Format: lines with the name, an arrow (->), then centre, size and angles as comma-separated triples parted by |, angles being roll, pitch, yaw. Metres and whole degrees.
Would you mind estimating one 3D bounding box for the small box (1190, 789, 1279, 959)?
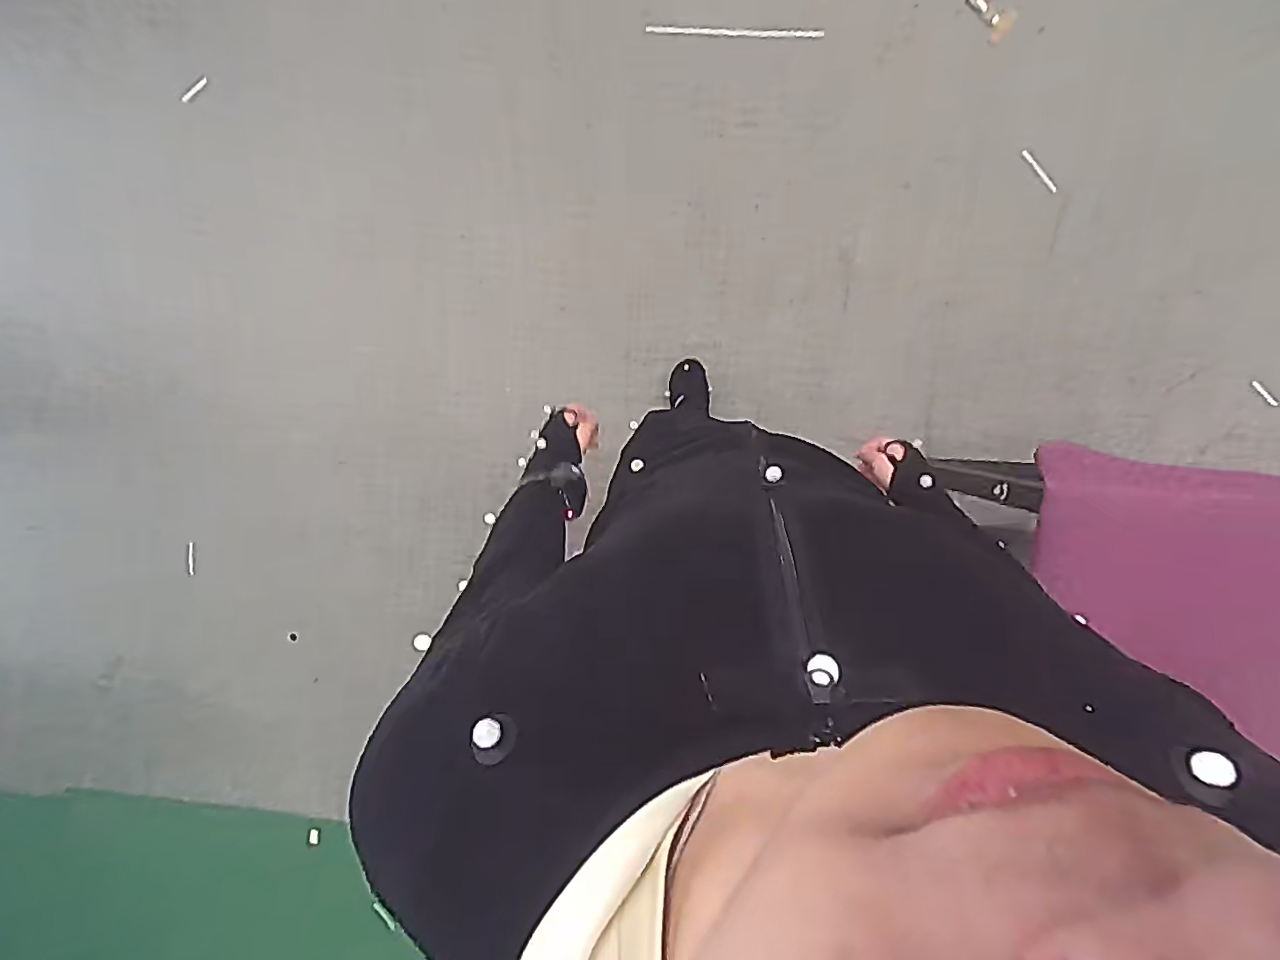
small box -> 0.837, 0.517, 0.655 | 0.168, 0.176, 0.179 | 4, 97, 3
